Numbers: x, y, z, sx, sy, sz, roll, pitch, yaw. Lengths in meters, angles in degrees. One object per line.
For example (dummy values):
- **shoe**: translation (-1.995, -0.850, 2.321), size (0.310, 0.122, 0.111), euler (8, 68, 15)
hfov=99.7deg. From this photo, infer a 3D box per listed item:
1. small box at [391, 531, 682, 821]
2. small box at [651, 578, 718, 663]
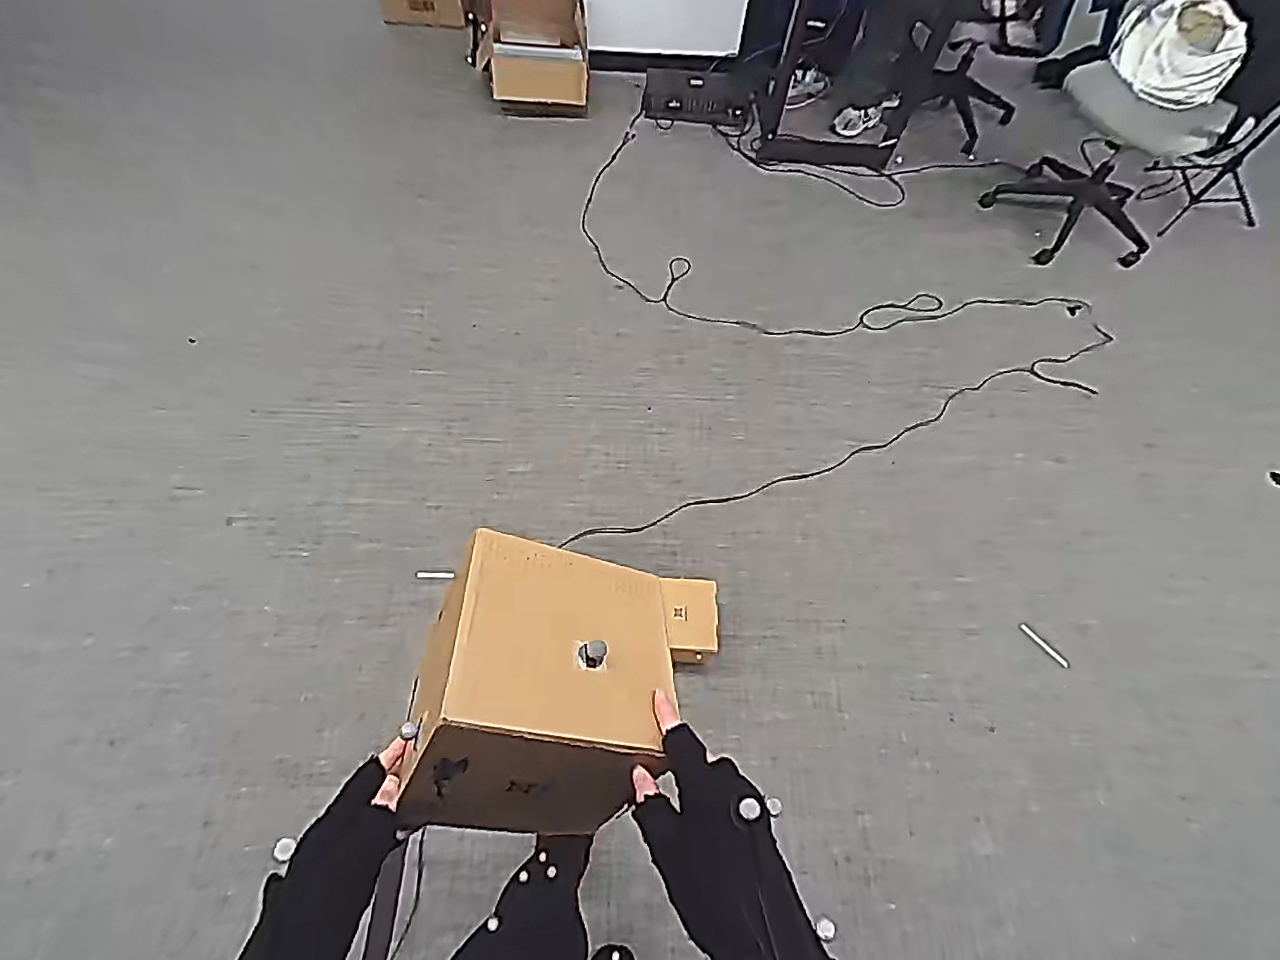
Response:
- **small box**: translation (-0.088, 0.168, 0.468), size (0.179, 0.168, 0.176), euler (19, 35, -21)
- **small box**: translation (0.090, 0.350, 1.332), size (0.179, 0.176, 0.168), euler (4, 62, -3)
